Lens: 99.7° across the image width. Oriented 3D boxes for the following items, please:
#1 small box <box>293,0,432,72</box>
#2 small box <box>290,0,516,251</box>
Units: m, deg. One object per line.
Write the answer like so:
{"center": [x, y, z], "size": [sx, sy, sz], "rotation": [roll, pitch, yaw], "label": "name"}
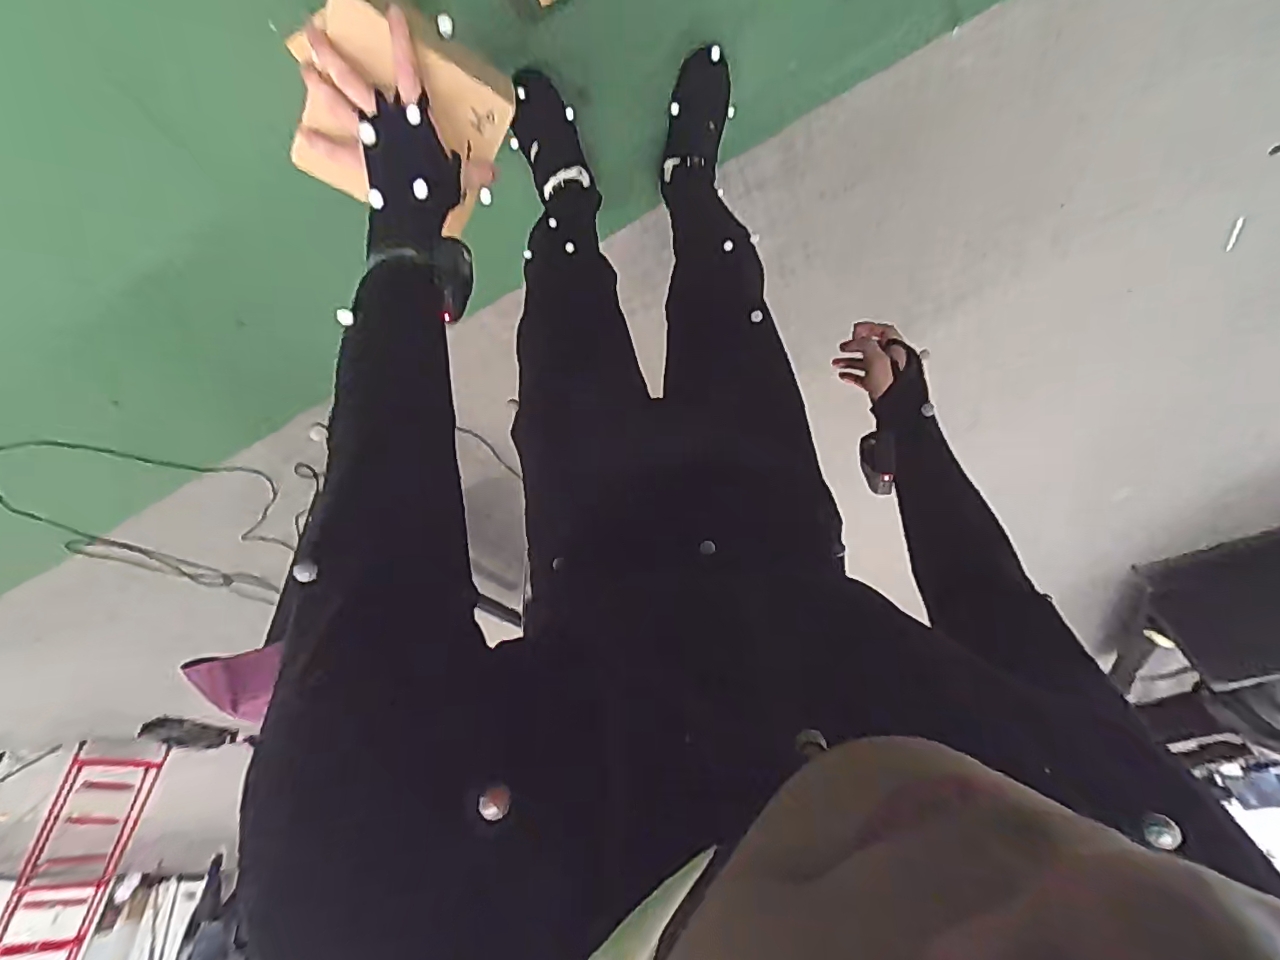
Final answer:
{"center": [-0.430, -0.709, 0.915], "size": [0.168, 0.176, 0.179], "rotation": [-22, 138, 17], "label": "small box"}
{"center": [-0.255, -0.400, 0.608], "size": [0.179, 0.176, 0.168], "rotation": [21, 126, -30], "label": "small box"}
